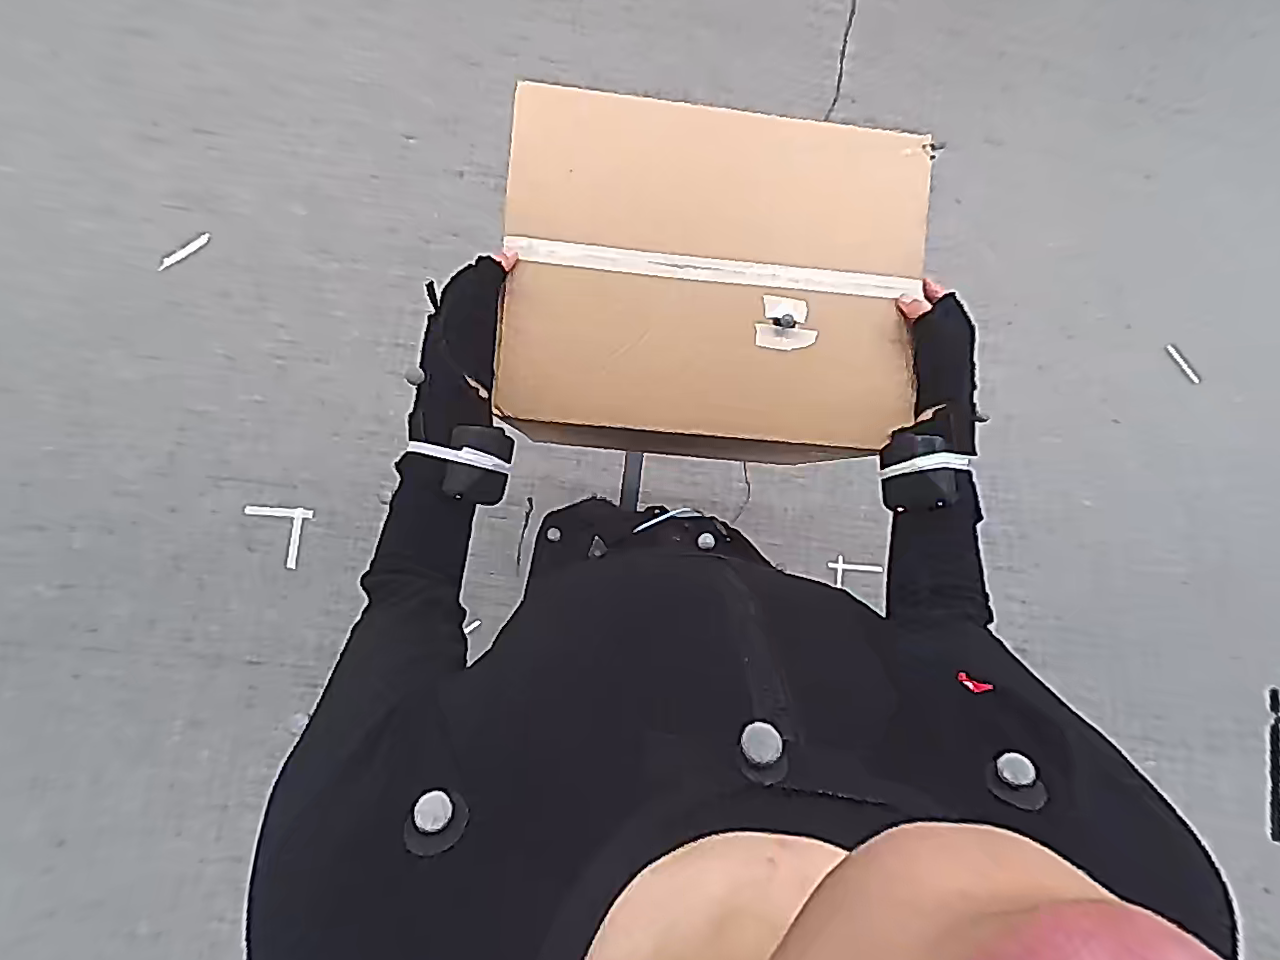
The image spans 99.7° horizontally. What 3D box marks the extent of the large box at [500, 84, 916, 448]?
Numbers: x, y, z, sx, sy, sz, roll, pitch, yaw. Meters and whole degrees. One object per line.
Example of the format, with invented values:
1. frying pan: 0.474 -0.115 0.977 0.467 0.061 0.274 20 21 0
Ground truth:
1. large box: 0.058 -0.213 0.676 0.408 0.320 0.320 5 91 -5
